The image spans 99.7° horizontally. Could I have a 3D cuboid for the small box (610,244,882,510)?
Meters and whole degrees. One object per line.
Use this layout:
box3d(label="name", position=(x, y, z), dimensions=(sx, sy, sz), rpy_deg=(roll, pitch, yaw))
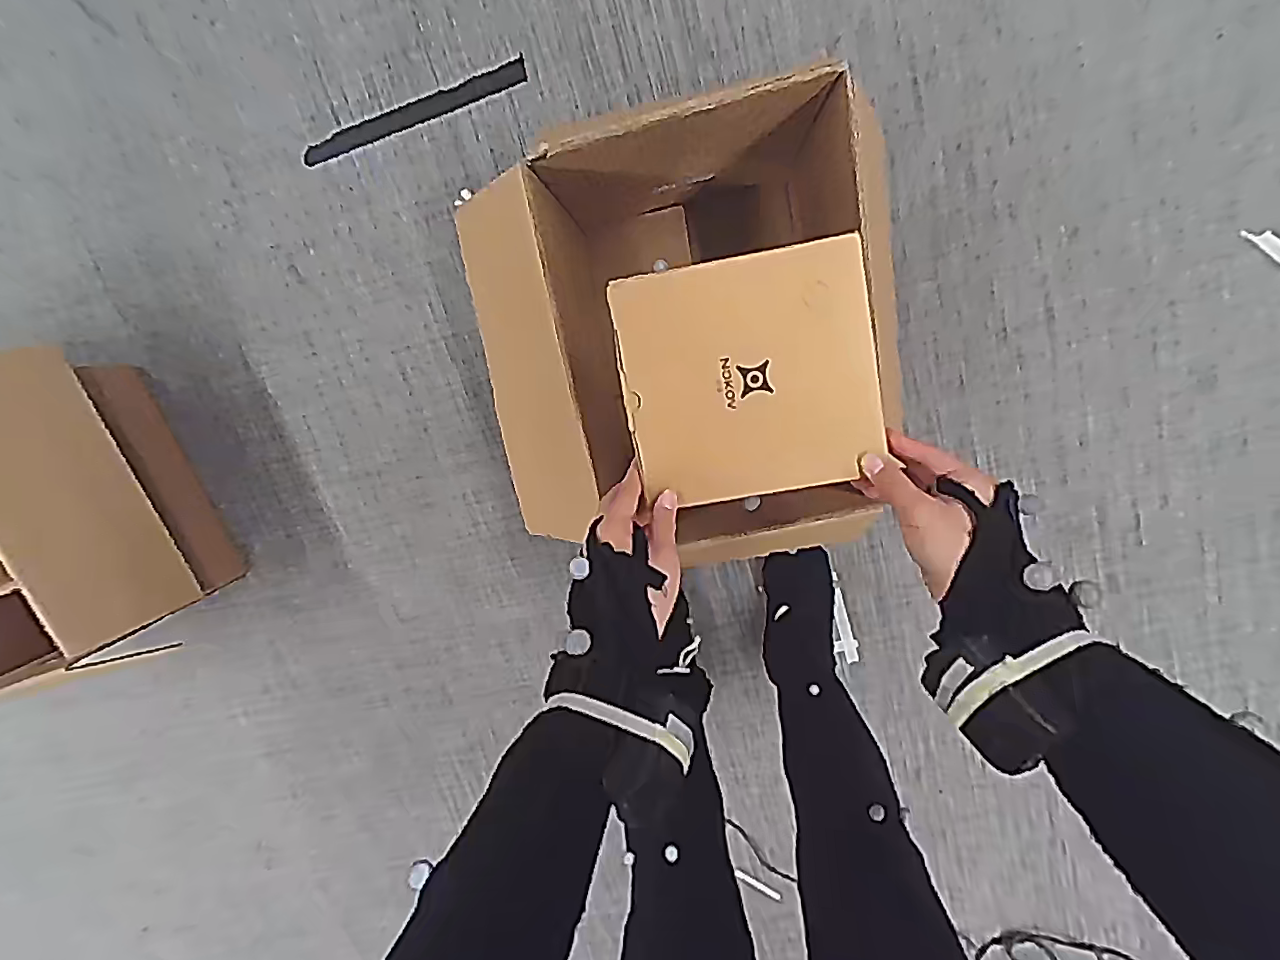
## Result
box3d(label="small box", position=(0.082, -0.081, 0.465), dimensions=(0.179, 0.176, 0.168), rpy_deg=(-10, 97, 7))
